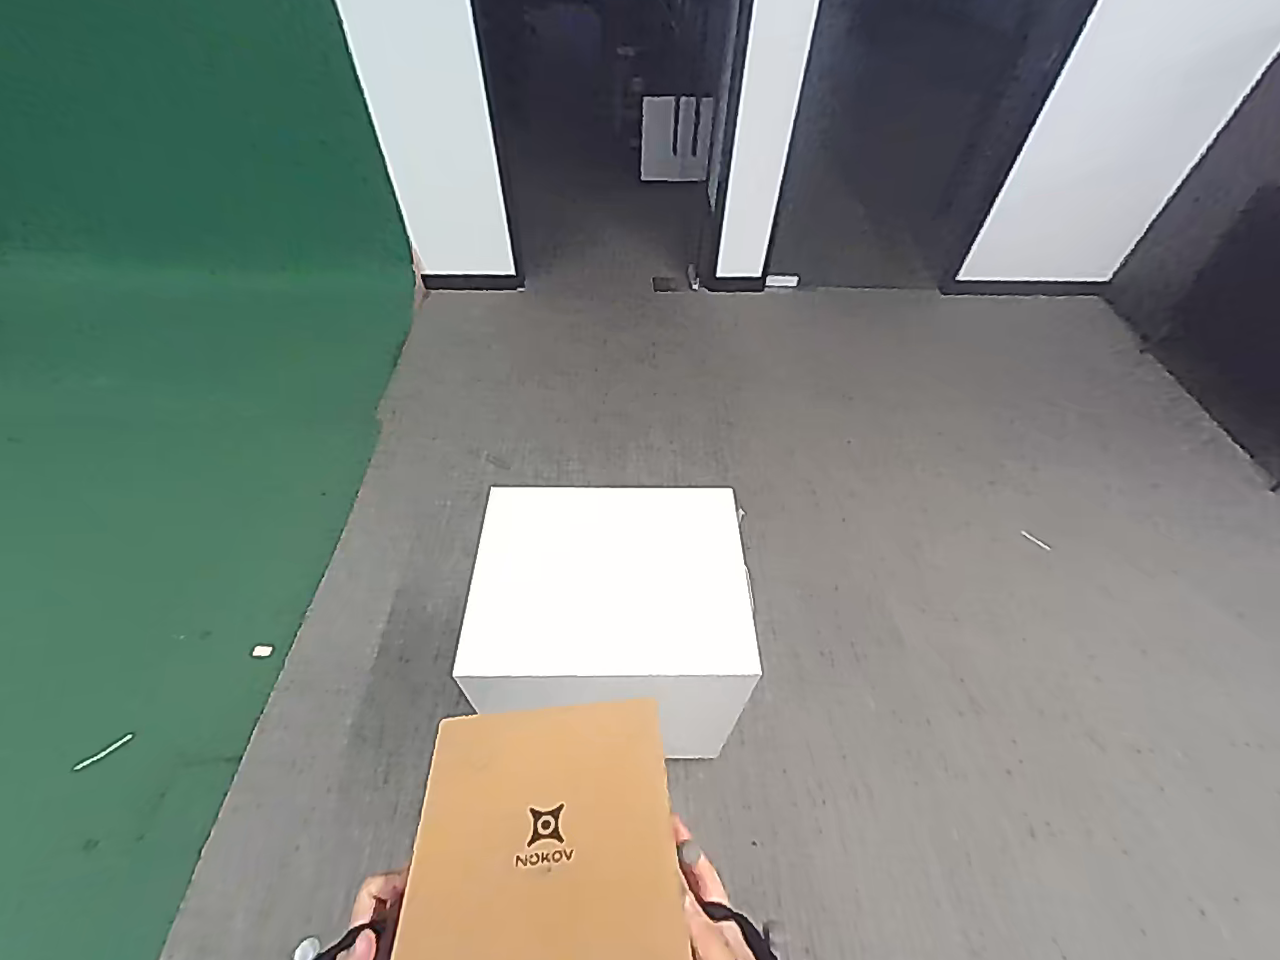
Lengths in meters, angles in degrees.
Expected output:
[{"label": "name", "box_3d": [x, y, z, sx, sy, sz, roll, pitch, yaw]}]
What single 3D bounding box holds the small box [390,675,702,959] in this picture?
[{"label": "small box", "box_3d": [-0.054, 0.272, 0.389, 0.168, 0.176, 0.179, -5, 36, -4]}]
